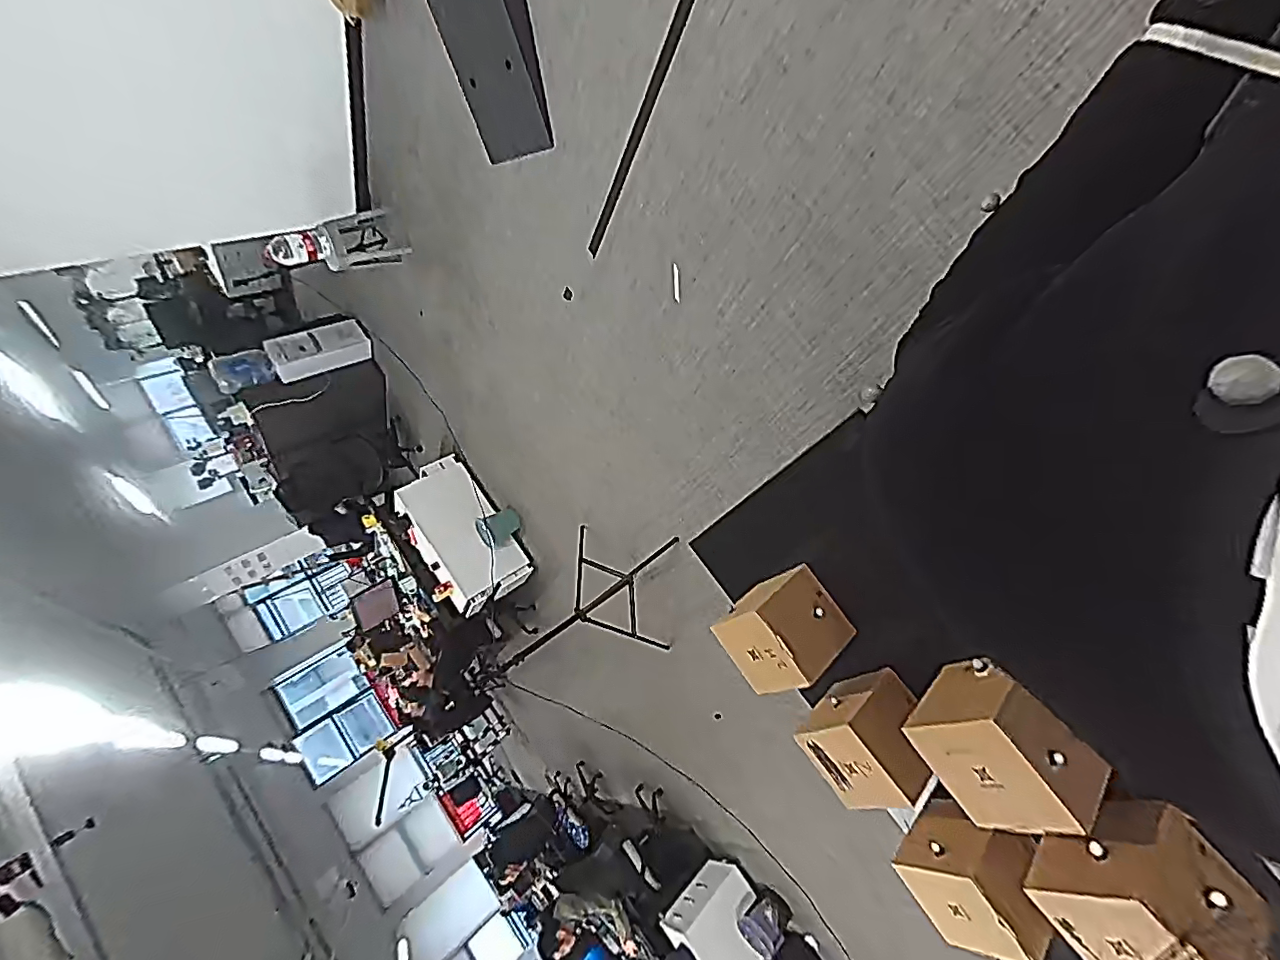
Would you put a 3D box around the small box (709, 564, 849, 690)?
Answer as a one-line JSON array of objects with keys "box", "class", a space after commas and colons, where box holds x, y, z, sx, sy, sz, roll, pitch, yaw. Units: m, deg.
[{"box": [0.280, 0.295, 1.088, 0.168, 0.176, 0.179, 54, 146, 7], "class": "small box"}]

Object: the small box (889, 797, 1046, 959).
[{"box": [0.605, 0.708, 0.980, 0.168, 0.176, 0.179, 54, 146, 9], "class": "small box"}]

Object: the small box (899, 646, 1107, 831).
[{"box": [0.543, 0.381, 0.811, 0.179, 0.176, 0.168, 53, 146, 11], "class": "small box"}]

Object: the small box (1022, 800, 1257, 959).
[{"box": [0.697, 0.581, 0.759, 0.168, 0.176, 0.179, 50, 145, 14], "class": "small box"}]
